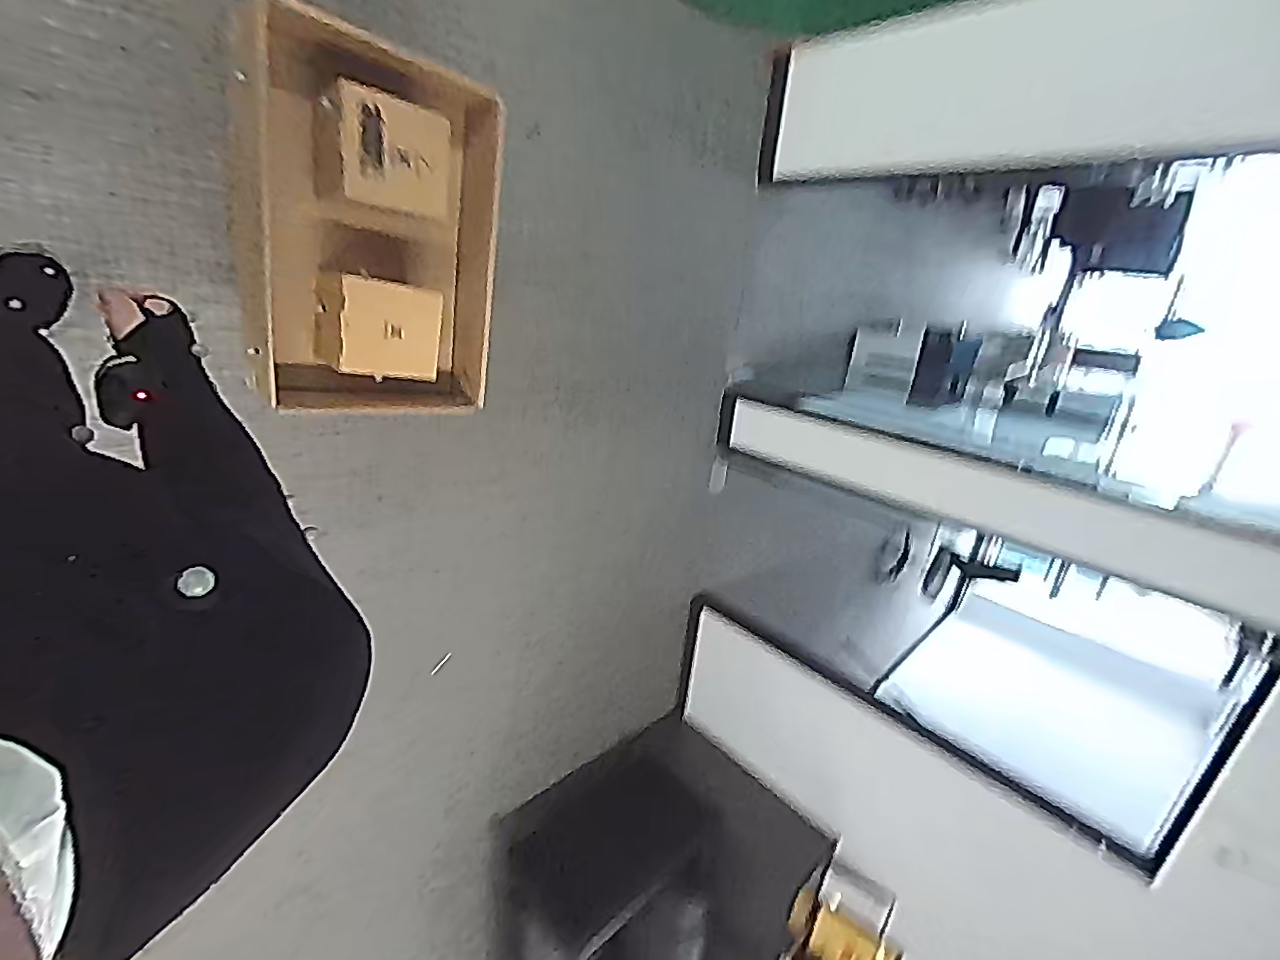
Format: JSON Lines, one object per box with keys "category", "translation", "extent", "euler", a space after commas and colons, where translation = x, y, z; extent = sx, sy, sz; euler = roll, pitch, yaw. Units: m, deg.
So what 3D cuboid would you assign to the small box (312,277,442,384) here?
{"category": "small box", "translation": [-0.509, -0.288, 1.044], "extent": [0.179, 0.176, 0.168], "euler": [-4, 111, -44]}
